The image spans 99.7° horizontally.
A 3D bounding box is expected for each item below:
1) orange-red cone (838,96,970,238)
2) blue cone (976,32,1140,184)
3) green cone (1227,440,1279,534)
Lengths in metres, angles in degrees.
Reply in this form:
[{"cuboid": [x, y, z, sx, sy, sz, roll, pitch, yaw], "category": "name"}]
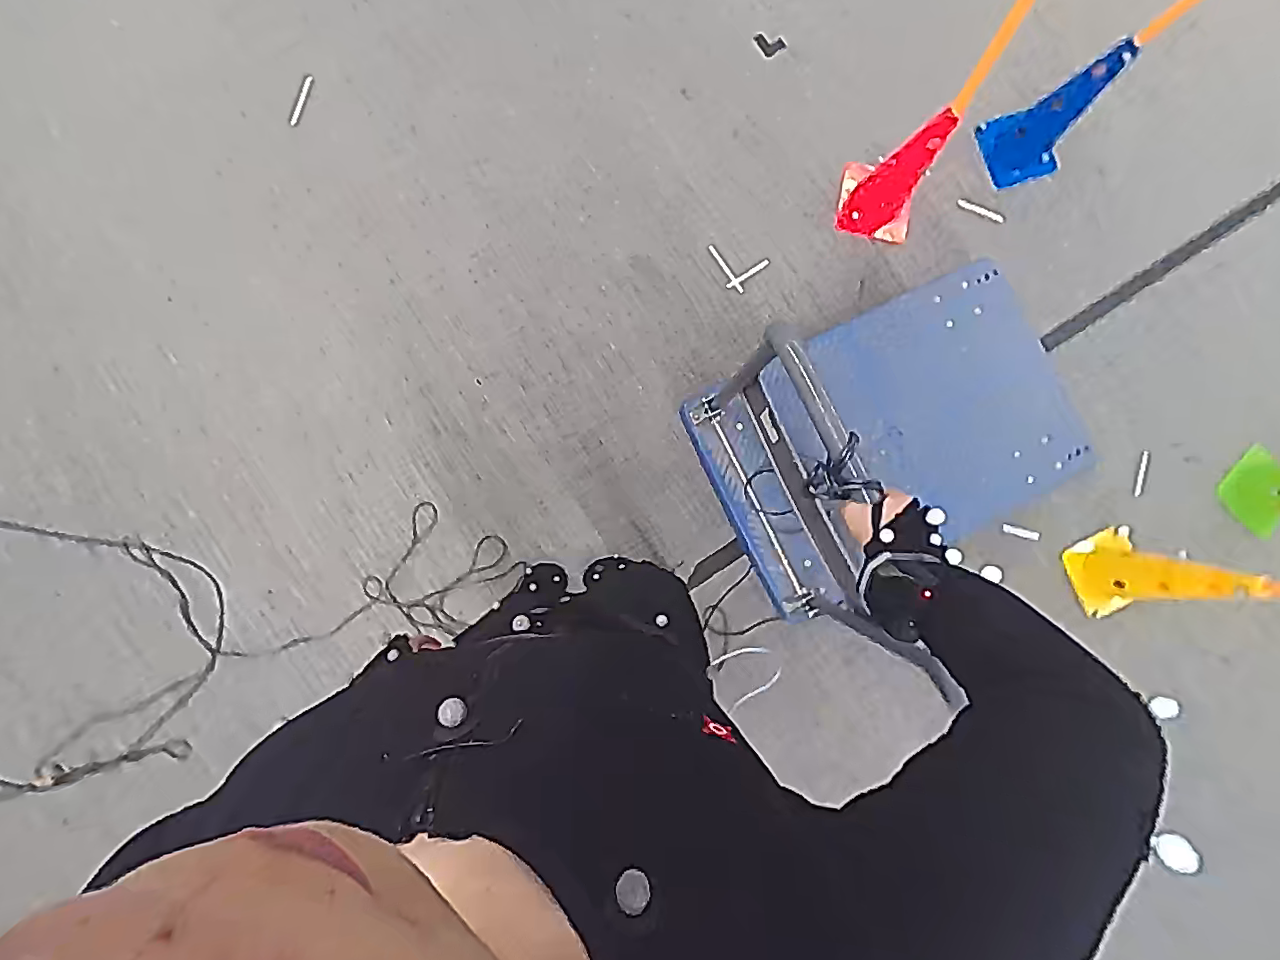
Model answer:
[{"cuboid": [0.662, -0.780, 1.305, 0.199, 0.360, 0.198, 12, 86, -4], "category": "orange-red cone"}, {"cuboid": [1.068, -0.951, 1.358, 0.192, 0.380, 0.193, -18, 88, -4], "category": "blue cone"}, {"cuboid": [1.754, 0.010, 1.325, 0.200, 0.368, 0.202, 43, 86, 0], "category": "green cone"}]
